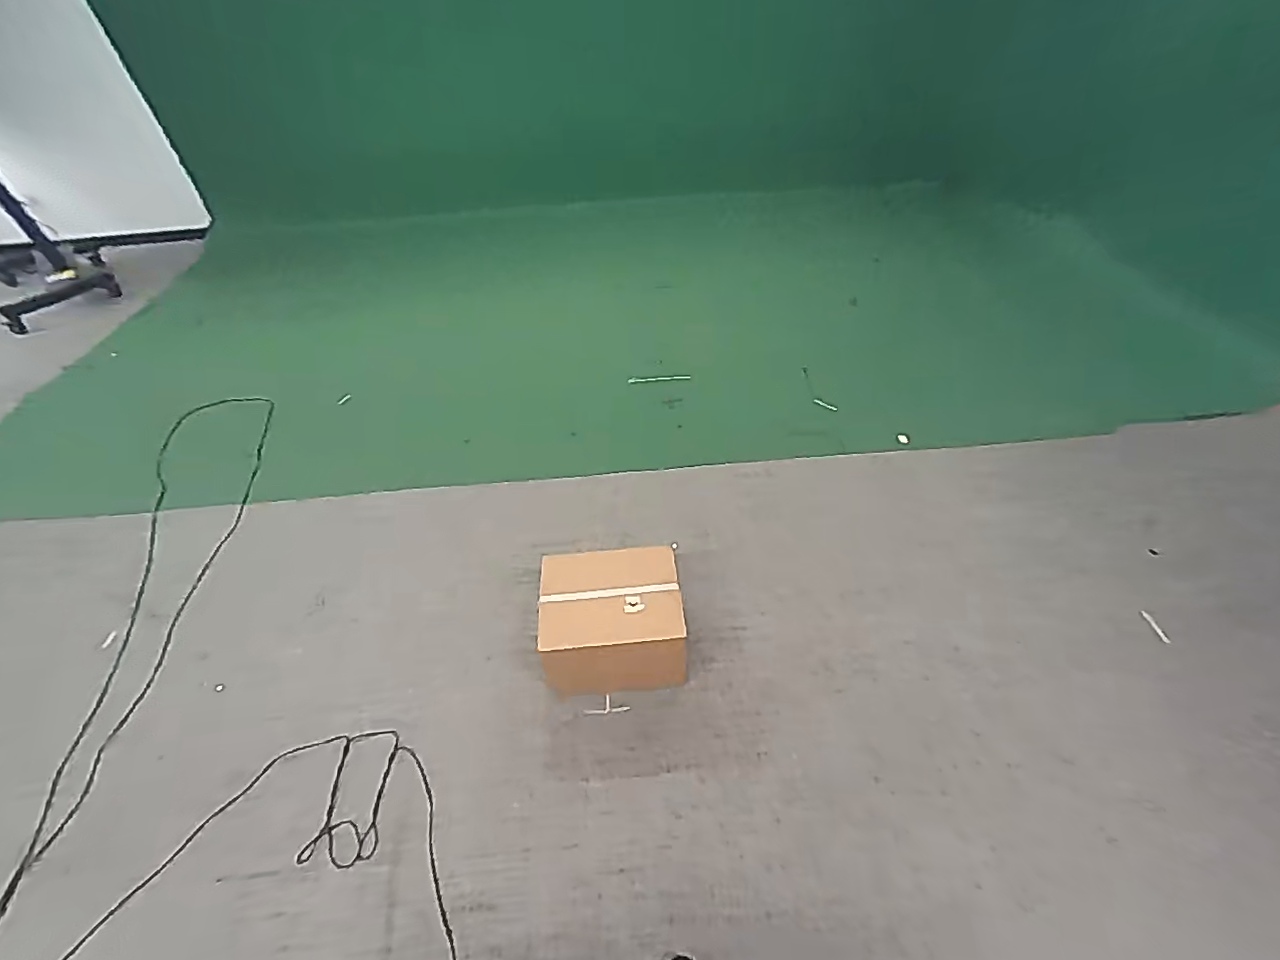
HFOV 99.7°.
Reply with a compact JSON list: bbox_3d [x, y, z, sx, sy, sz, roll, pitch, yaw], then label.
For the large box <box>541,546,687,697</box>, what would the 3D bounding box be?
[{"bbox_3d":[-0.080,0.438,1.667,0.408,0.320,0.320,-6,46,-2],"label":"large box"}]
